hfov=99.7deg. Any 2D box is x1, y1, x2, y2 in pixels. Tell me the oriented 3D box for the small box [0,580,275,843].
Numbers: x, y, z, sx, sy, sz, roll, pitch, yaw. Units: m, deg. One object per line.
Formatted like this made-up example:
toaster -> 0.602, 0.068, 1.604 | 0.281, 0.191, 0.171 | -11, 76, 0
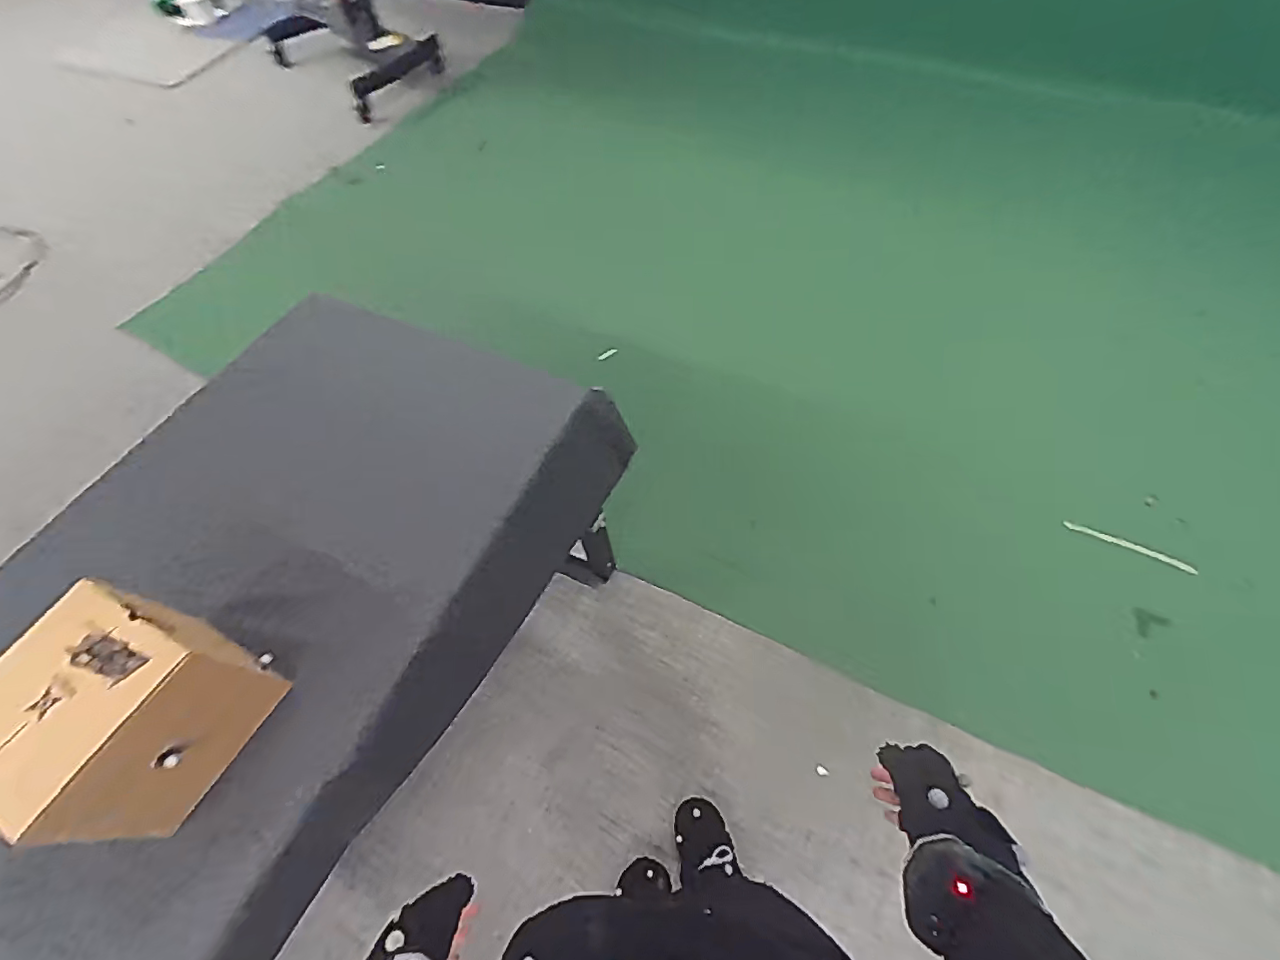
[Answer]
small box -> -0.531, 0.239, 0.566 | 0.168, 0.176, 0.179 | 23, 64, 16
